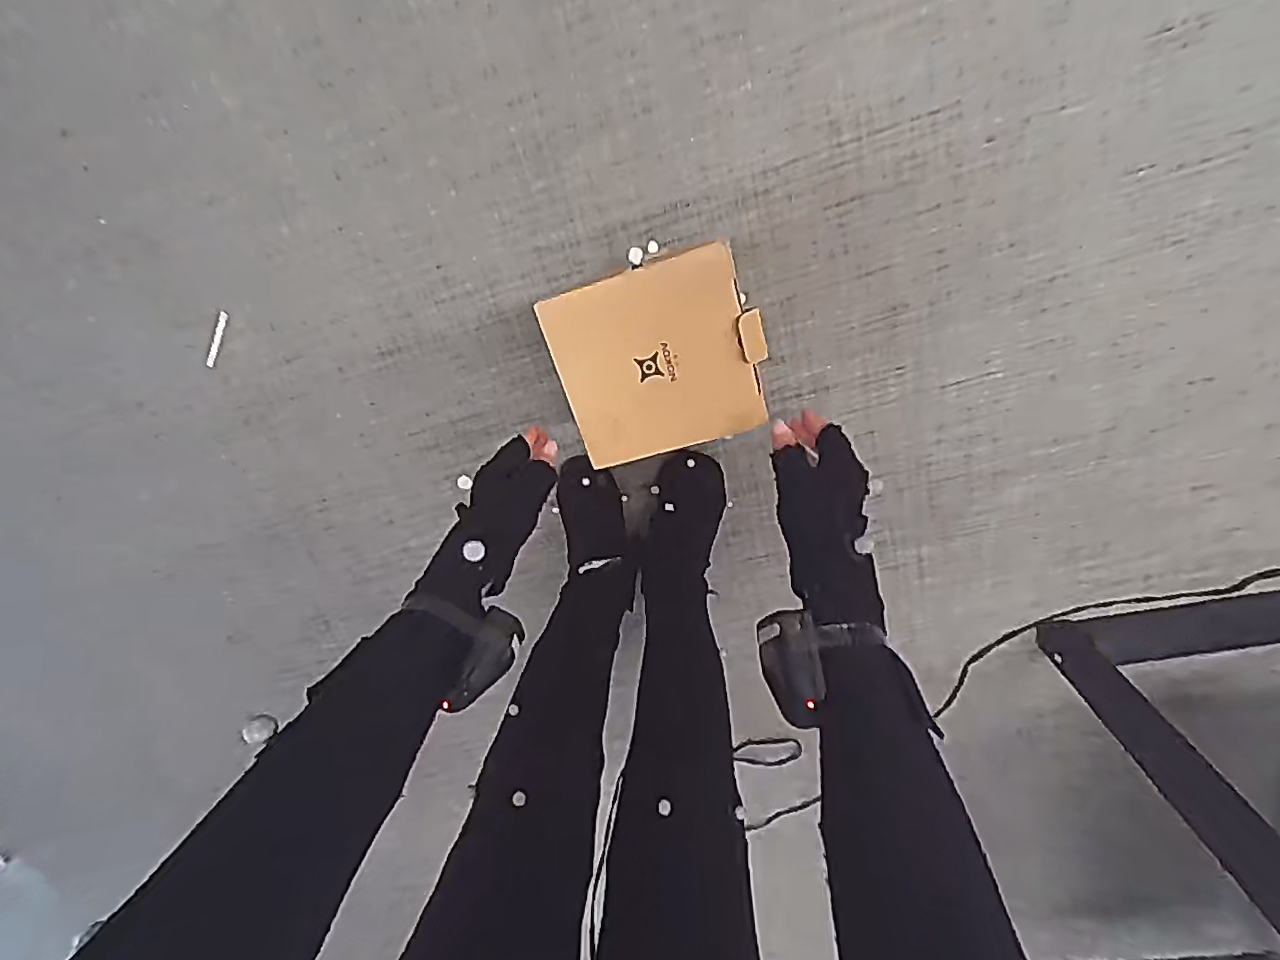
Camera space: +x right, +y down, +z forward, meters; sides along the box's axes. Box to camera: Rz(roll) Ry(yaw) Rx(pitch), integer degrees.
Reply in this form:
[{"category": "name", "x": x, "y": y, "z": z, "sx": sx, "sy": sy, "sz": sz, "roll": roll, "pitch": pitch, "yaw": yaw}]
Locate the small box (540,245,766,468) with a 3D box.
[{"category": "small box", "x": 0.023, "y": -0.135, "z": 0.567, "sx": 0.179, "sy": 0.176, "sz": 0.168, "roll": -15, "pitch": 112, "yaw": 12}]
